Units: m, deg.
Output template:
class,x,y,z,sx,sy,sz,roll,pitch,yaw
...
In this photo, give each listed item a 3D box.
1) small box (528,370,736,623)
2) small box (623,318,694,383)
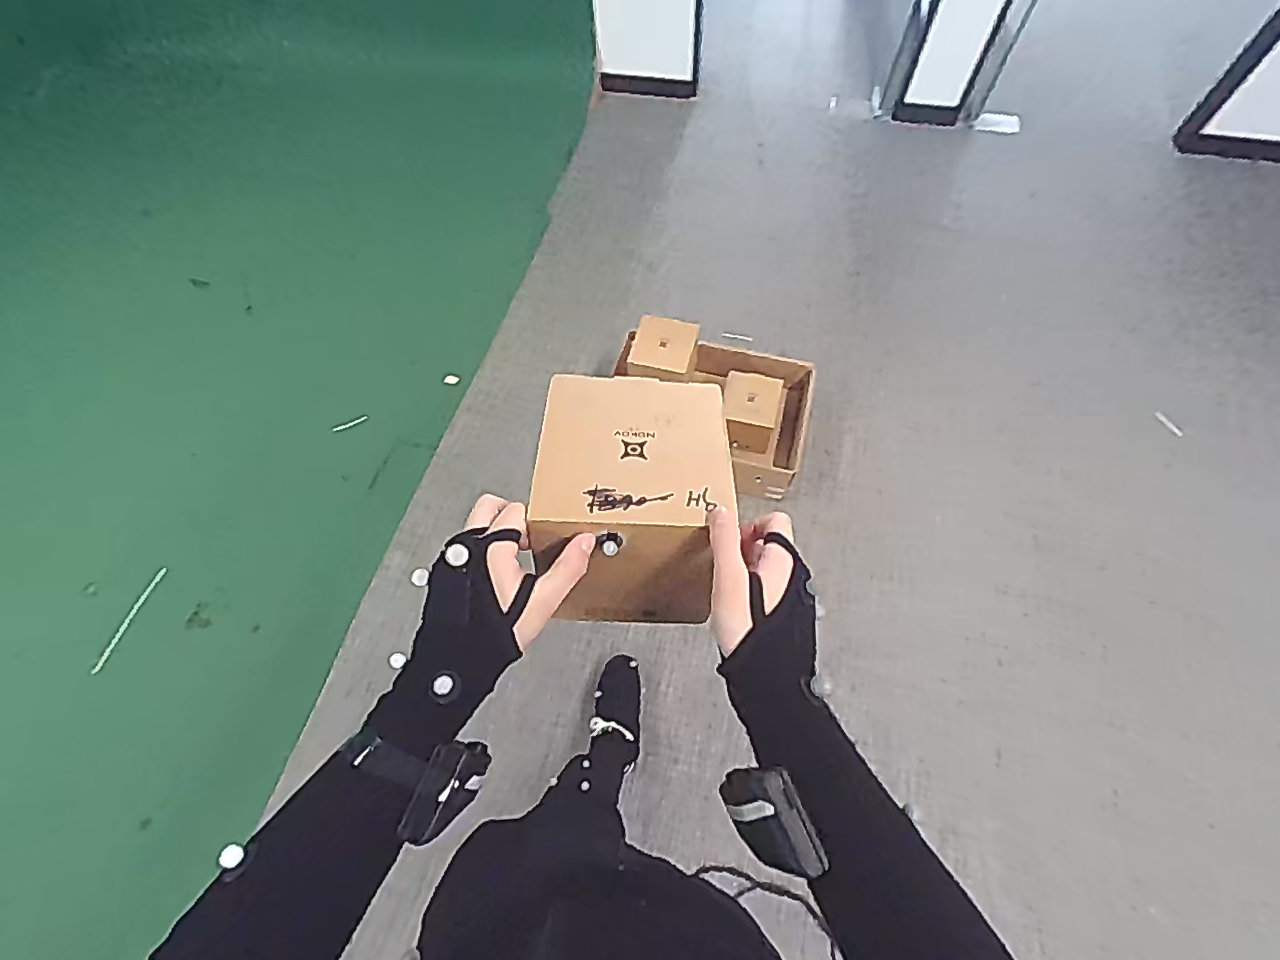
class,x,y,z,sx,sy,sz,roll,pitch,yaw
small box,-0.010,0.017,0.531,0.168,0.176,0.179,4,48,-3
small box,0.056,-0.334,1.562,0.168,0.176,0.179,13,64,8
